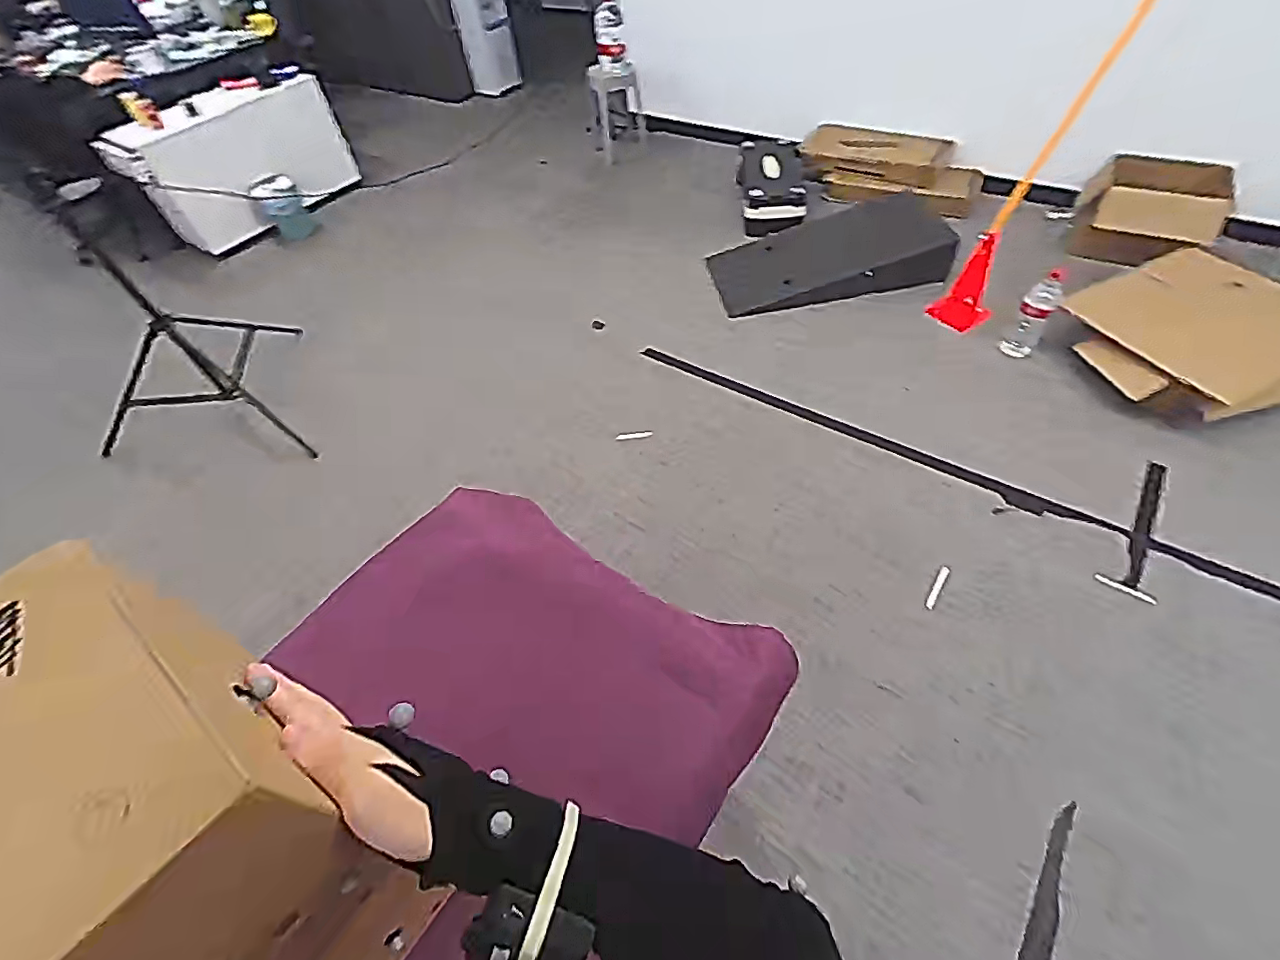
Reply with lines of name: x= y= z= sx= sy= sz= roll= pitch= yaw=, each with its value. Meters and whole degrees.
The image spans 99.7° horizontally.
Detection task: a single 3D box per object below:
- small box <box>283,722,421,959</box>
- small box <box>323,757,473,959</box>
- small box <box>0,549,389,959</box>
small box: x=-0.320 y=0.304 z=0.447 sx=0.179 sy=0.176 sz=0.168 roll=28 pitch=60 yaw=25
small box: x=-0.308 y=0.411 z=0.568 sx=0.179 sy=0.176 sz=0.168 roll=27 pitch=60 yaw=24
small box: x=-0.263 y=0.174 z=0.263 sx=0.179 sy=0.176 sz=0.168 roll=35 pitch=59 yaw=20
